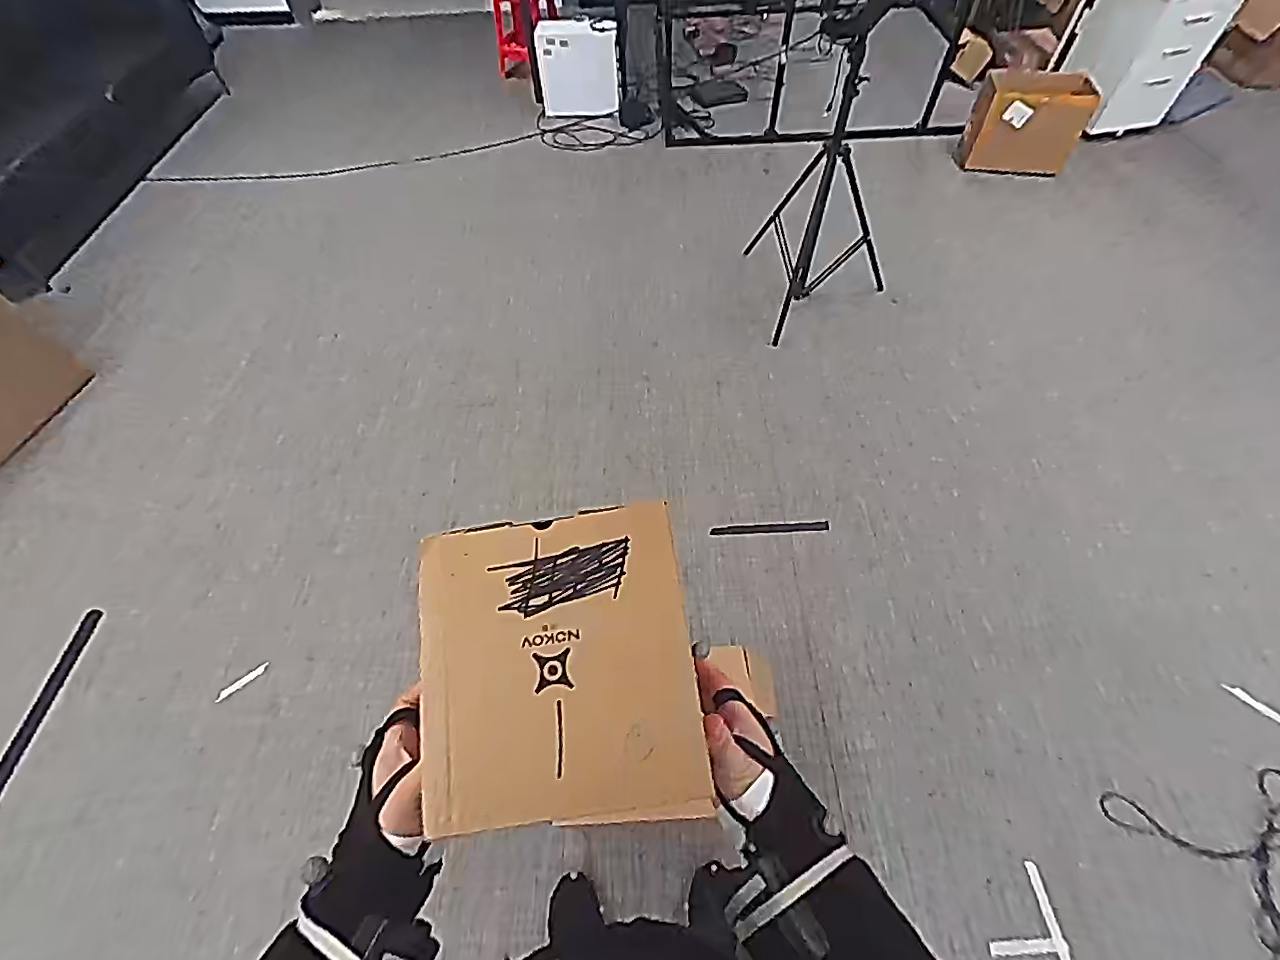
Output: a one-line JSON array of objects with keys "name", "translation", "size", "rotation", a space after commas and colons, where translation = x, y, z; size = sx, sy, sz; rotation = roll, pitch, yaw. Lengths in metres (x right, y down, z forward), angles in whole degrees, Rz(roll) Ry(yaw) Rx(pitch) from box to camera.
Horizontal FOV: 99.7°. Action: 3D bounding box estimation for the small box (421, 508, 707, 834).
[{"name": "small box", "translation": [-0.049, 0.136, 0.408], "size": [0.168, 0.176, 0.179], "rotation": [-8, 71, 0]}]
